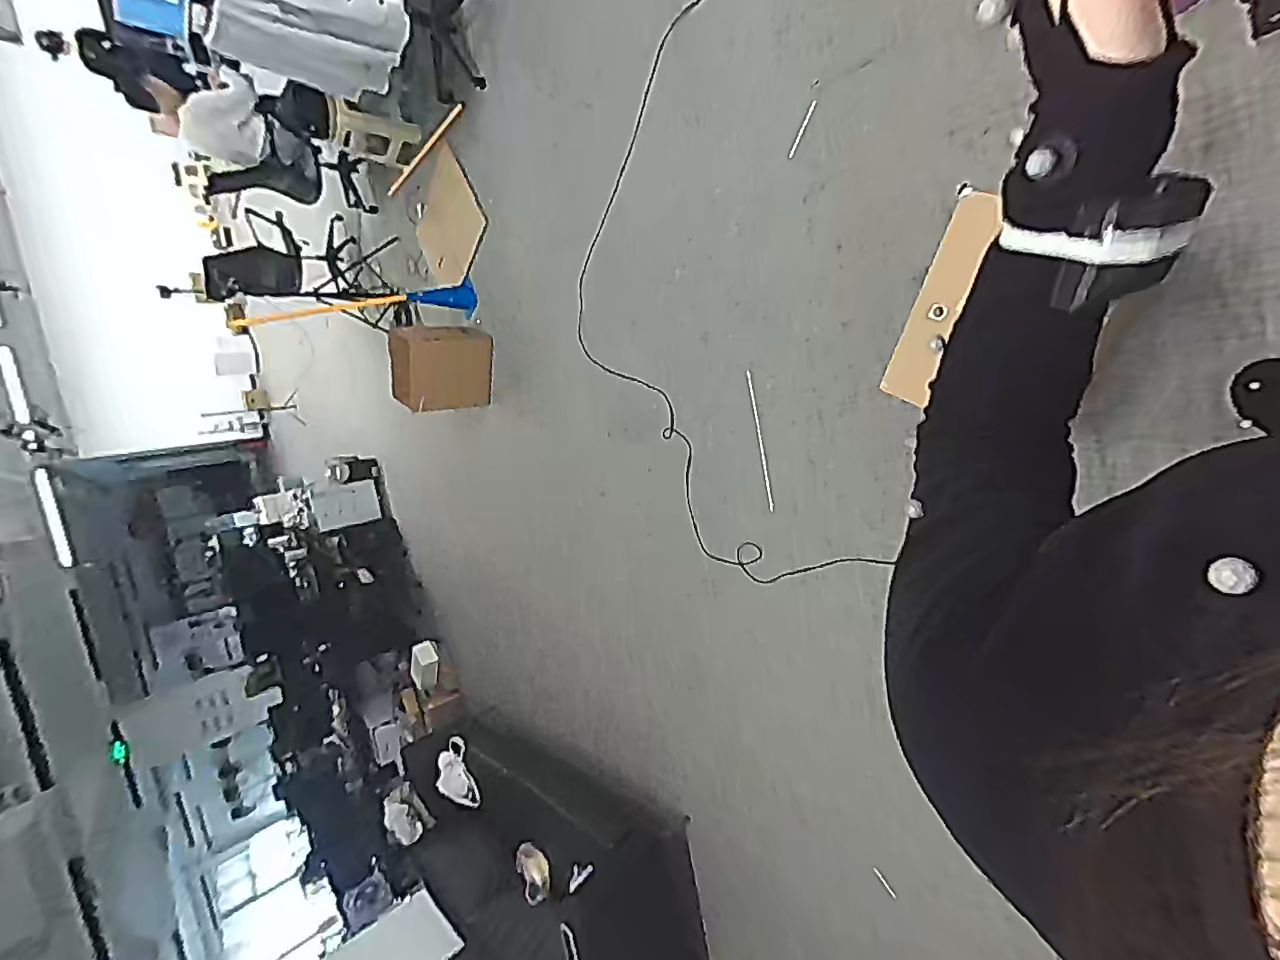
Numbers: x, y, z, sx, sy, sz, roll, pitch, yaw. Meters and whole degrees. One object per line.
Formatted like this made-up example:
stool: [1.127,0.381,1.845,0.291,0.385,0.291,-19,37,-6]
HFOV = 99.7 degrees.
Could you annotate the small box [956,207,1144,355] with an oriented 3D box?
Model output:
small box: [0.667,-0.322,0.885,0.179,0.176,0.168,41,130,27]
